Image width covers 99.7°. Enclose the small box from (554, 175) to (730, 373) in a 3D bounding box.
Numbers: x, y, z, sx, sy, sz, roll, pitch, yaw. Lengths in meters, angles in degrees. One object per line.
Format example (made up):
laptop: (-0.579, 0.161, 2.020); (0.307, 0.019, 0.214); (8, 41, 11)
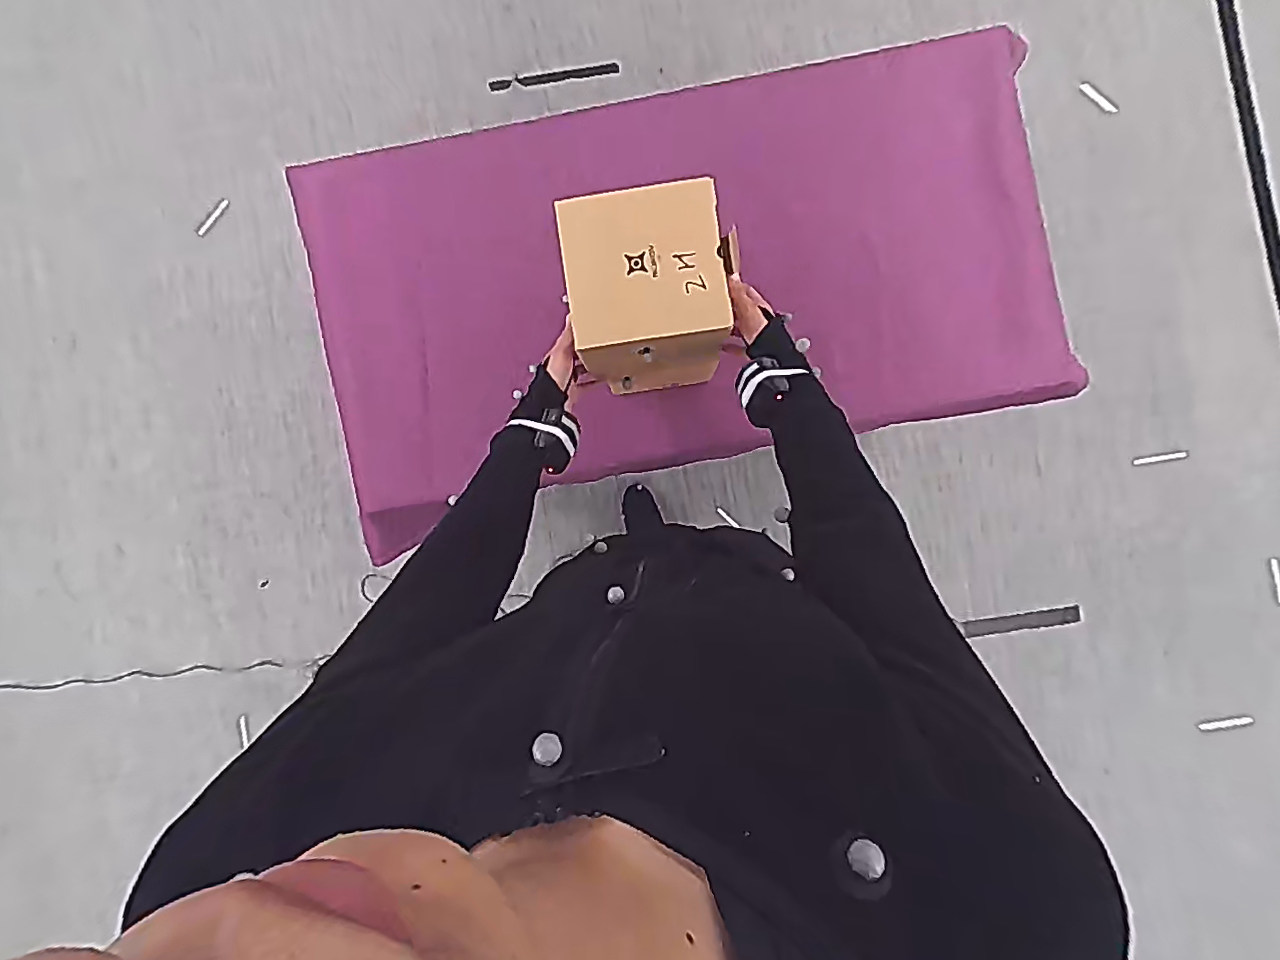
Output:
small box: (0.004, -0.235, 0.661); (0.179, 0.176, 0.168); (-8, 89, 1)
